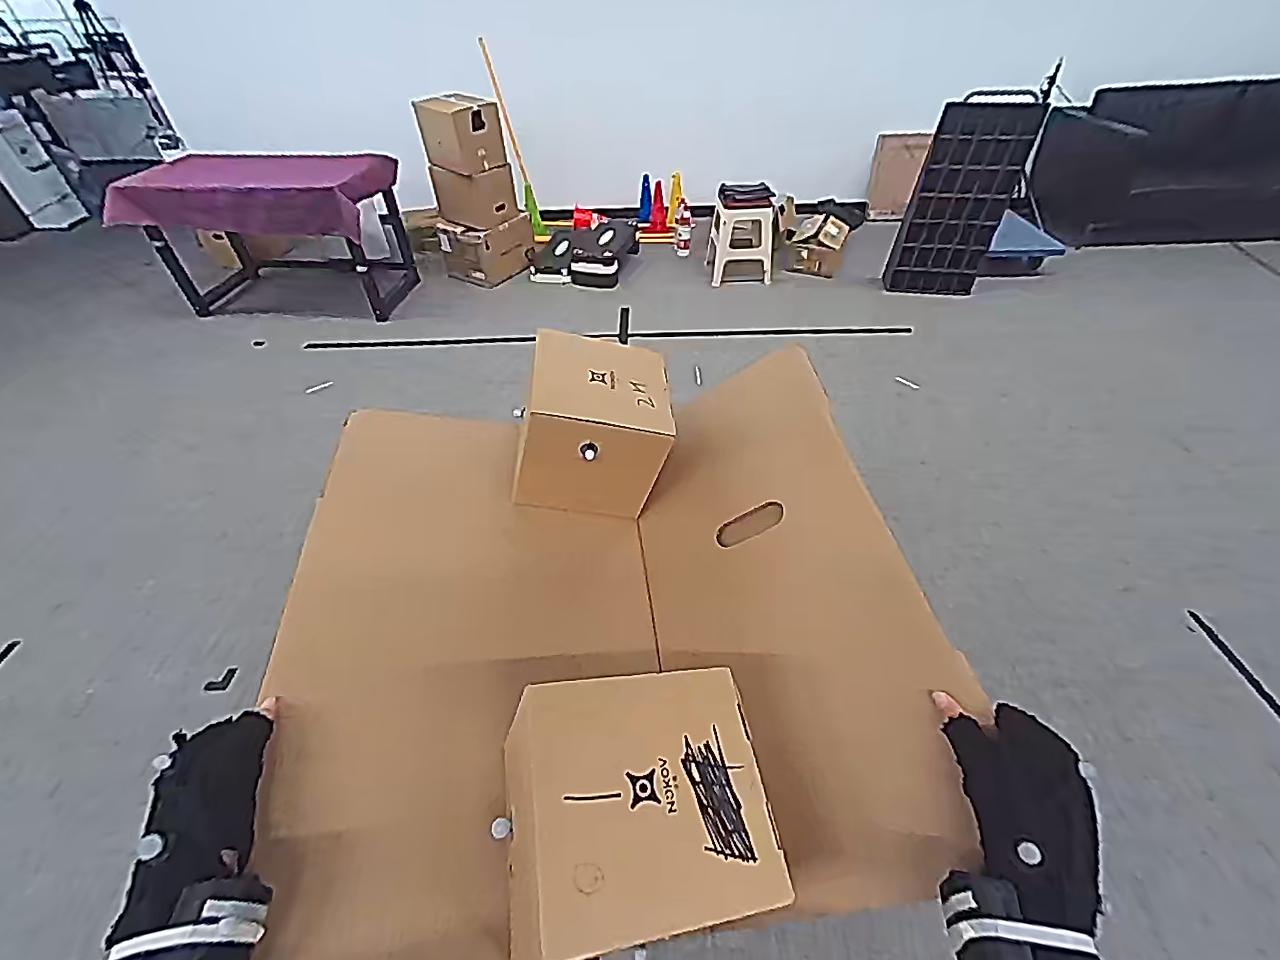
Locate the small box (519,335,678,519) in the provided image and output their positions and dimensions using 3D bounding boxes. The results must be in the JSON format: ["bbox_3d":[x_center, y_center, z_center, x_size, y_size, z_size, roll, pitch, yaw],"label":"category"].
[{"bbox_3d":[-0.063,-0.065,0.734,0.179,0.176,0.168,9,47,-15],"label":"small box"}]
